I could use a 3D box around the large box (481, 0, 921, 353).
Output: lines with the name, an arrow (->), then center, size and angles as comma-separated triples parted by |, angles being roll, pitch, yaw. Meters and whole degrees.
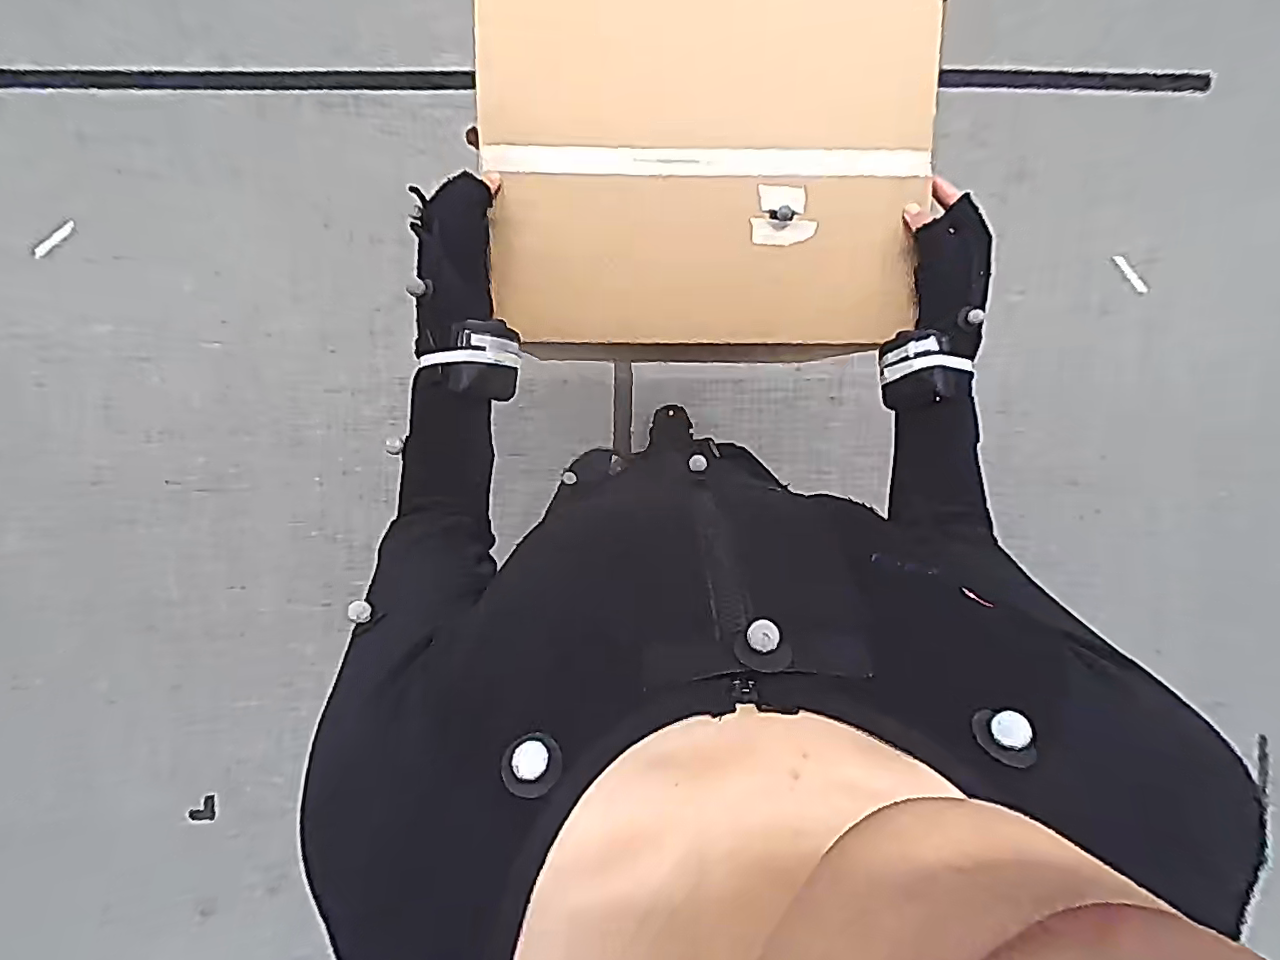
large box -> 0.053, -0.325, 0.649 | 0.408, 0.320, 0.320 | -1, 100, -3
